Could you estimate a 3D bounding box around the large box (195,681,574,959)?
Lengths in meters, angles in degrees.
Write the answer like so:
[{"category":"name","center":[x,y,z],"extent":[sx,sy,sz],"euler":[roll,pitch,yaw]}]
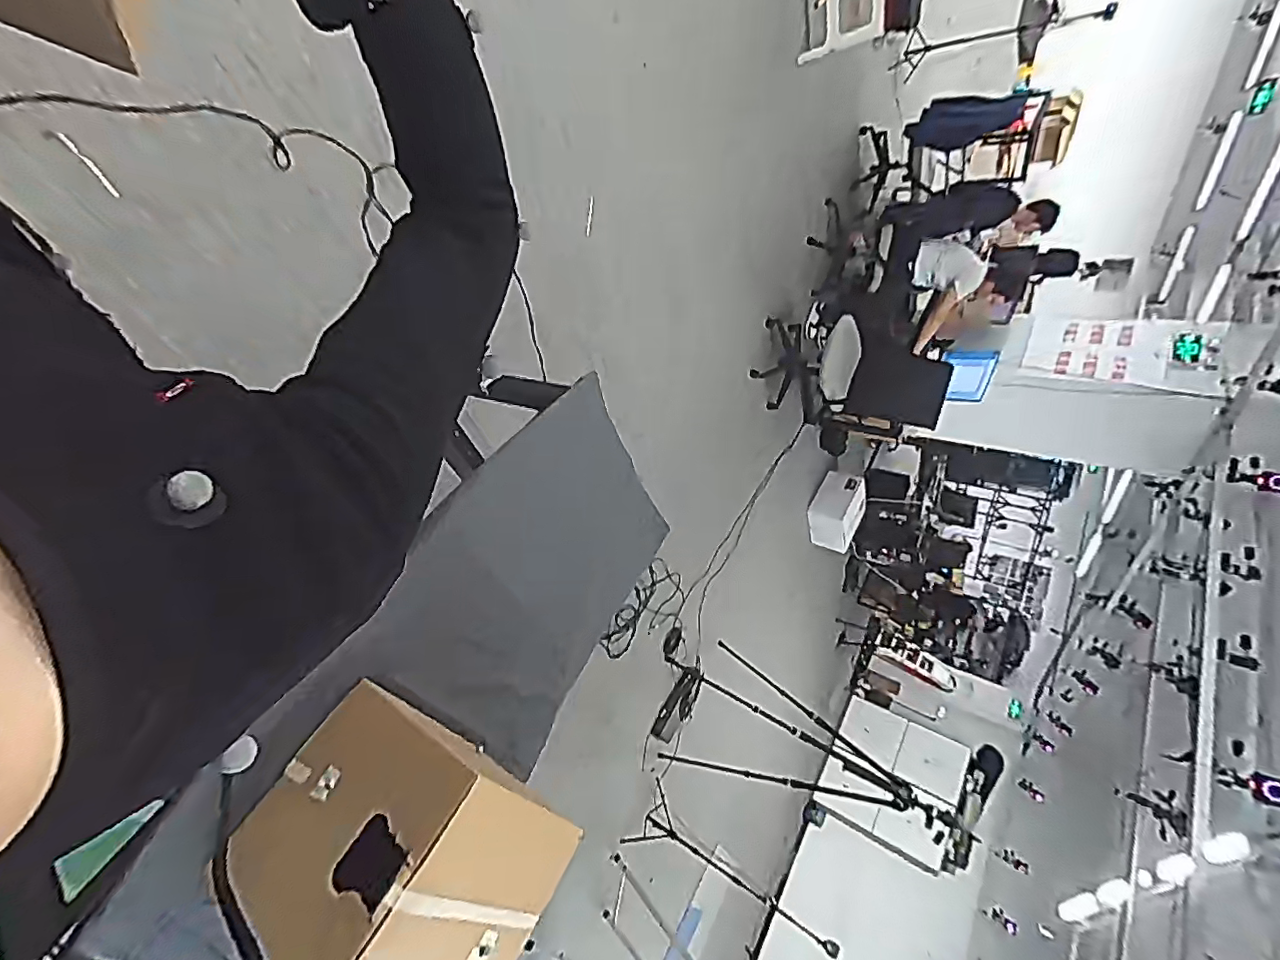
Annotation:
[{"category":"large box","center":[-0.377,0.594,0.886],"extent":[0.320,0.320,0.408],"euler":[-54,143,-27]}]
